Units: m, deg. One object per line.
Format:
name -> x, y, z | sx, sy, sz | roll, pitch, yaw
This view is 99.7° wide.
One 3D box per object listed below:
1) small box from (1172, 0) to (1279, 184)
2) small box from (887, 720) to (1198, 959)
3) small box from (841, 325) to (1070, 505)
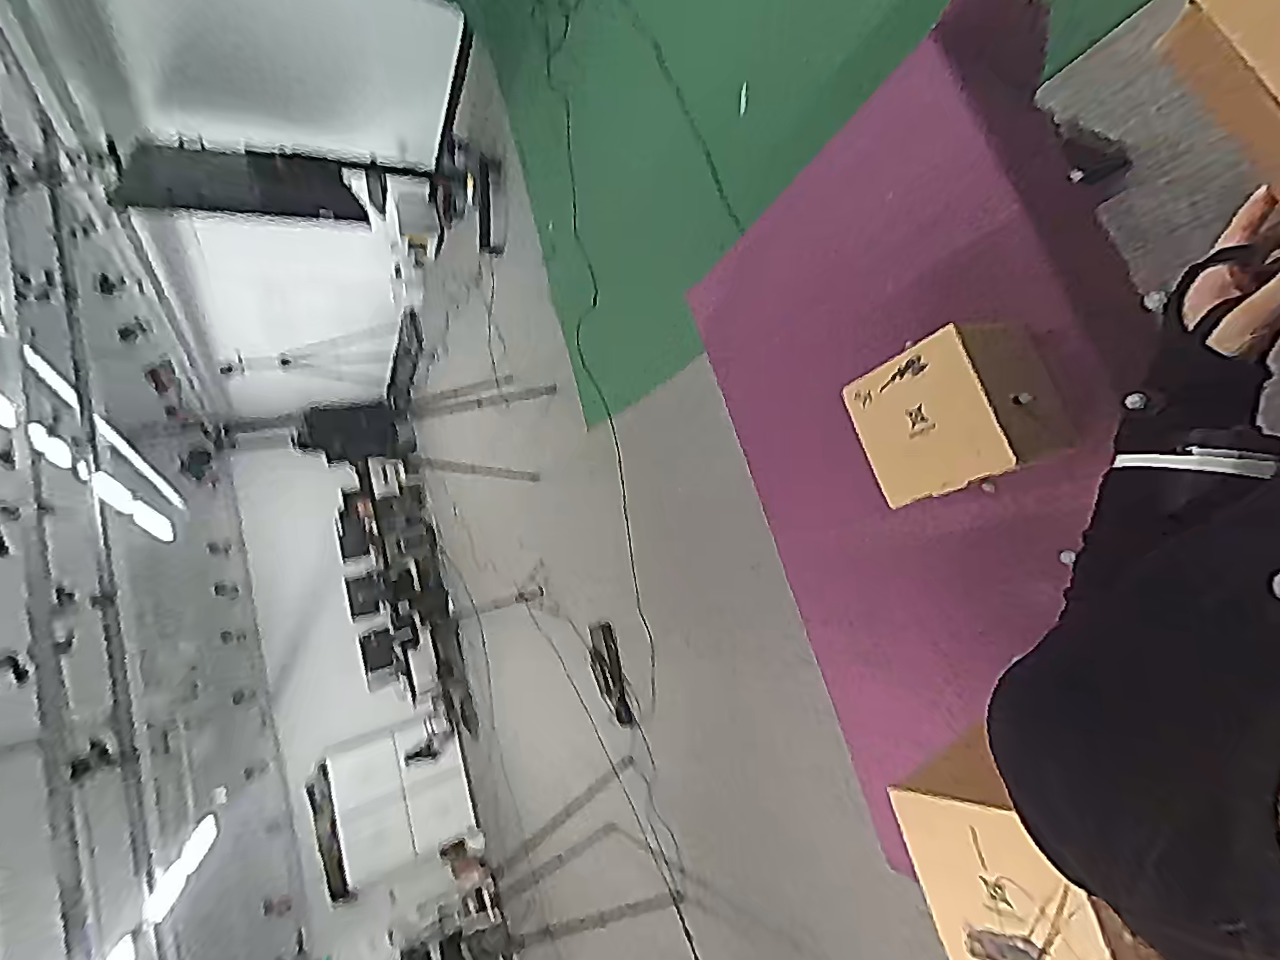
small box -> 0.397, -0.233, 0.246 | 0.179, 0.176, 0.168 | 51, 136, 0
small box -> 0.393, 0.363, 0.537 | 0.168, 0.176, 0.179 | -34, 69, 56
small box -> 0.405, -0.086, 0.701 | 0.168, 0.176, 0.179 | -35, 70, 56
